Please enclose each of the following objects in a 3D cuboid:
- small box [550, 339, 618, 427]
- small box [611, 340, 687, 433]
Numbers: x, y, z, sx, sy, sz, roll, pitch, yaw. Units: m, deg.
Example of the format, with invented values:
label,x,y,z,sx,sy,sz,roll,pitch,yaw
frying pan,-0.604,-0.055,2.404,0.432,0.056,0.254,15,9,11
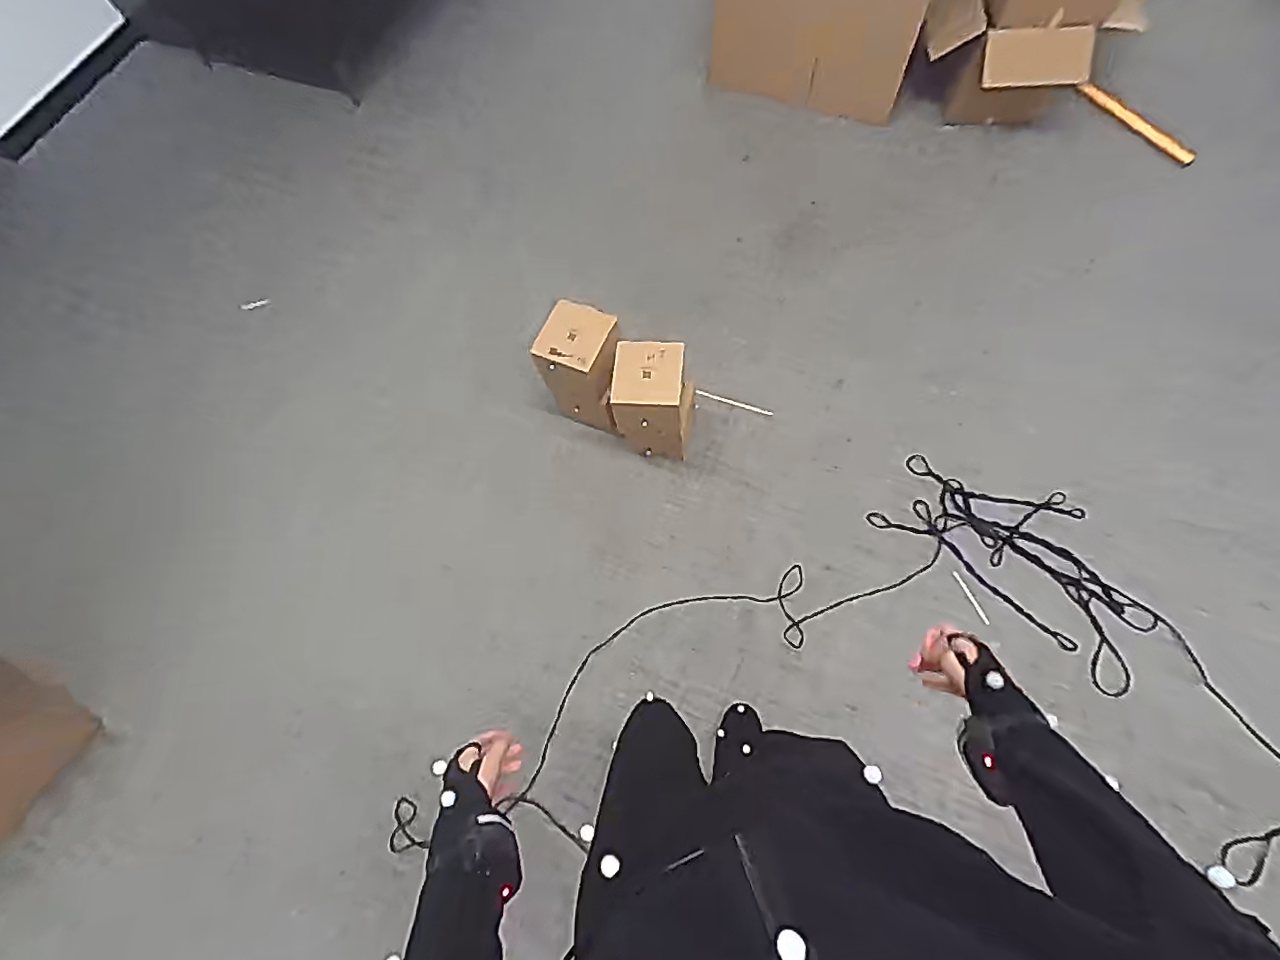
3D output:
label,x,y,z,sx,sy,sz,roll,pitch,yaw
small box,-0.131,-0.273,1.561,0.179,0.176,0.168,20,72,14
small box,0.030,-0.229,1.354,0.168,0.176,0.179,4,69,8
